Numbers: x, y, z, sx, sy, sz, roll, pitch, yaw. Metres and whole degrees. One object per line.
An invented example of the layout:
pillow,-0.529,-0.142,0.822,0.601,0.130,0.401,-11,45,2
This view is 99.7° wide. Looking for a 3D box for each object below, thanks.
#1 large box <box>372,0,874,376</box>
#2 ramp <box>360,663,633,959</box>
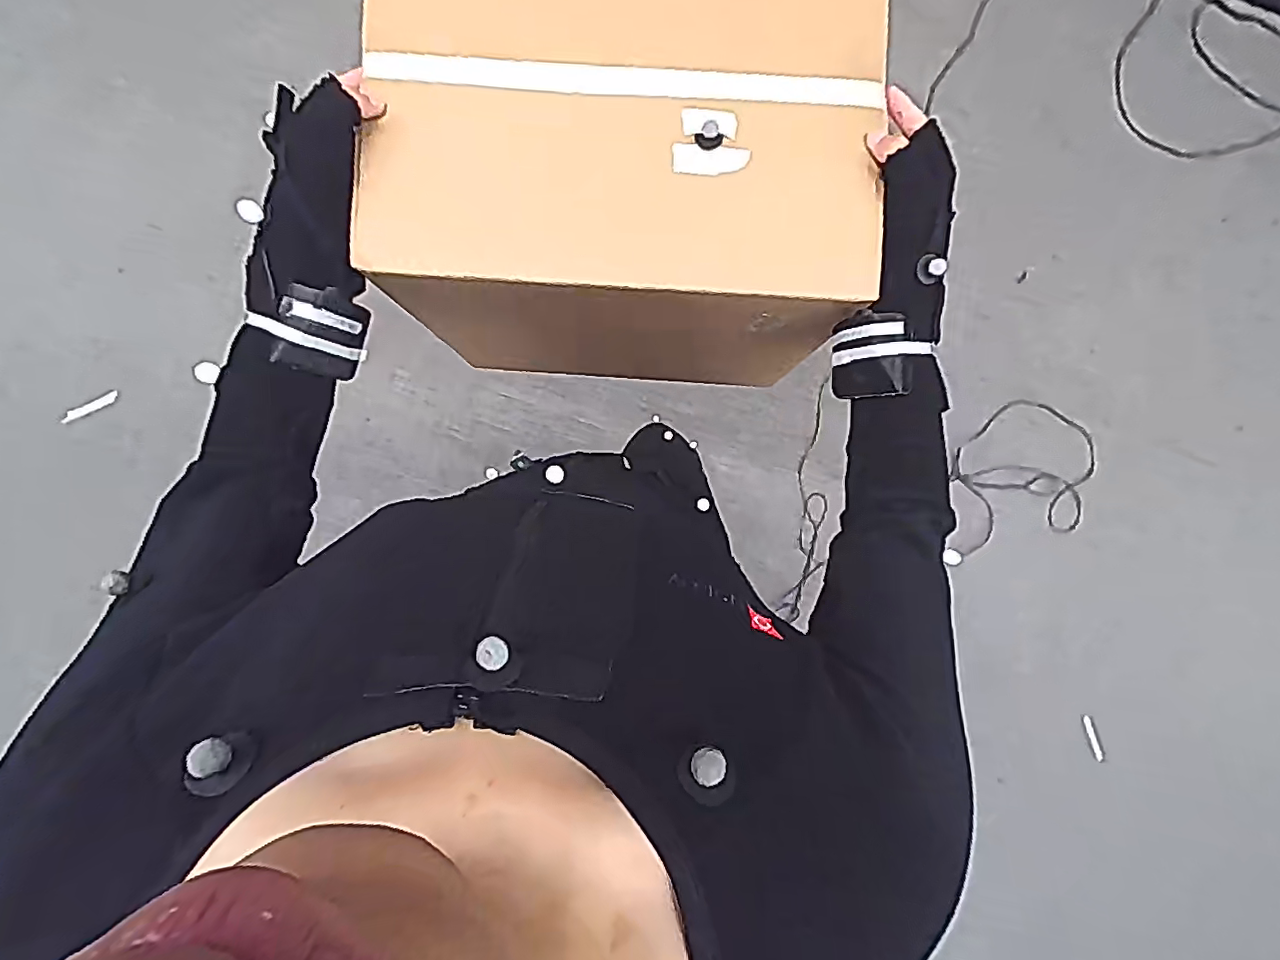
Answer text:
large box,-0.014,-0.304,0.584,0.408,0.320,0.320,3,88,-1
ramp,-0.402,1.045,1.438,0.509,0.206,0.991,17,92,-1
